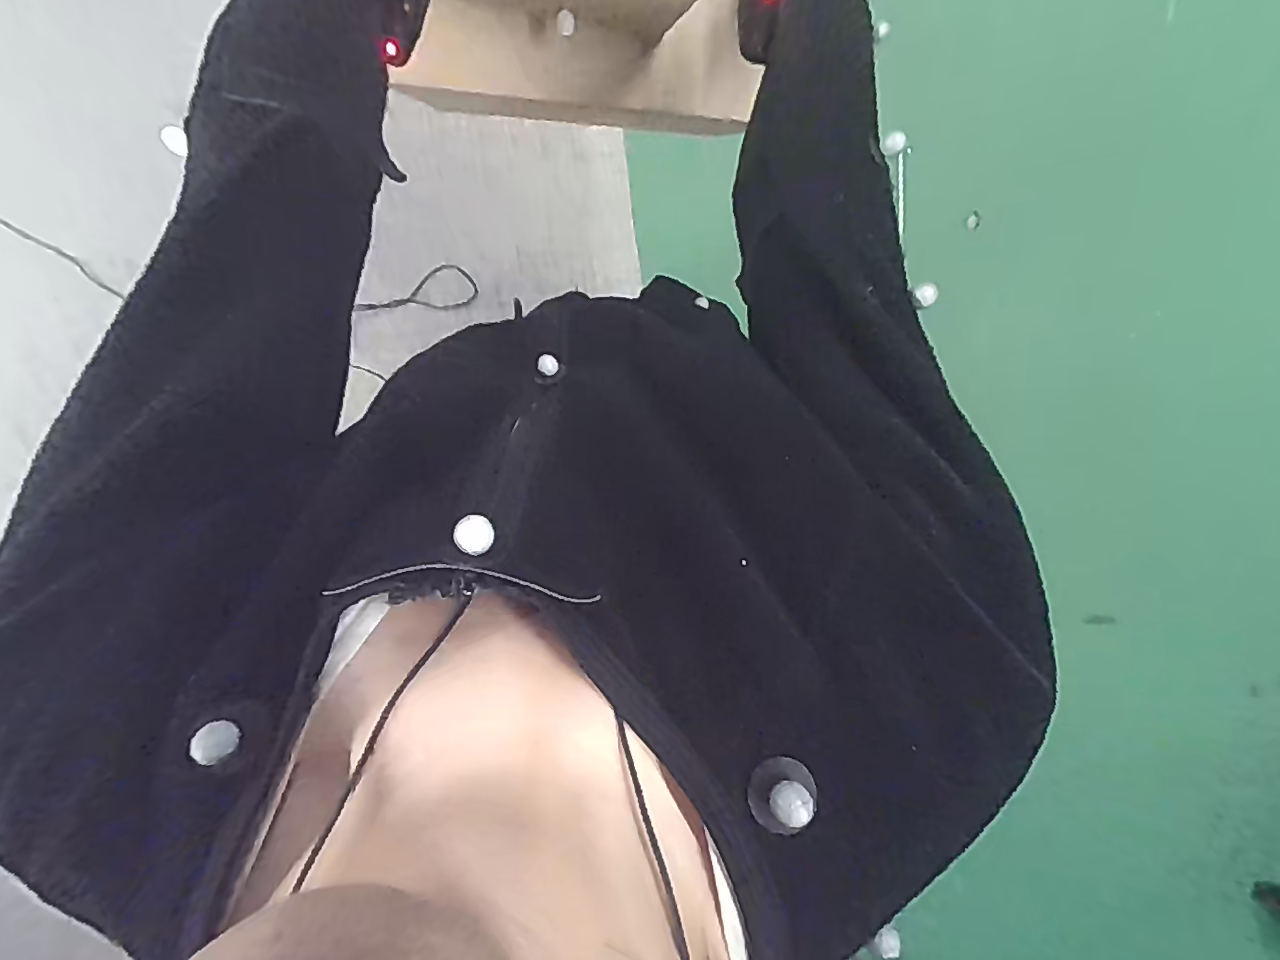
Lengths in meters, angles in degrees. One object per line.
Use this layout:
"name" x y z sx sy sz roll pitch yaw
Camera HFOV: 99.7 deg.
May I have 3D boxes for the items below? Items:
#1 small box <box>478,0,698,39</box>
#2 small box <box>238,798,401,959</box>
"small box" -0.042 -0.415 0.344 0.168 0.176 0.179 1 121 -9
"small box" -0.606 0.771 1.049 0.179 0.176 0.168 -35 103 8
